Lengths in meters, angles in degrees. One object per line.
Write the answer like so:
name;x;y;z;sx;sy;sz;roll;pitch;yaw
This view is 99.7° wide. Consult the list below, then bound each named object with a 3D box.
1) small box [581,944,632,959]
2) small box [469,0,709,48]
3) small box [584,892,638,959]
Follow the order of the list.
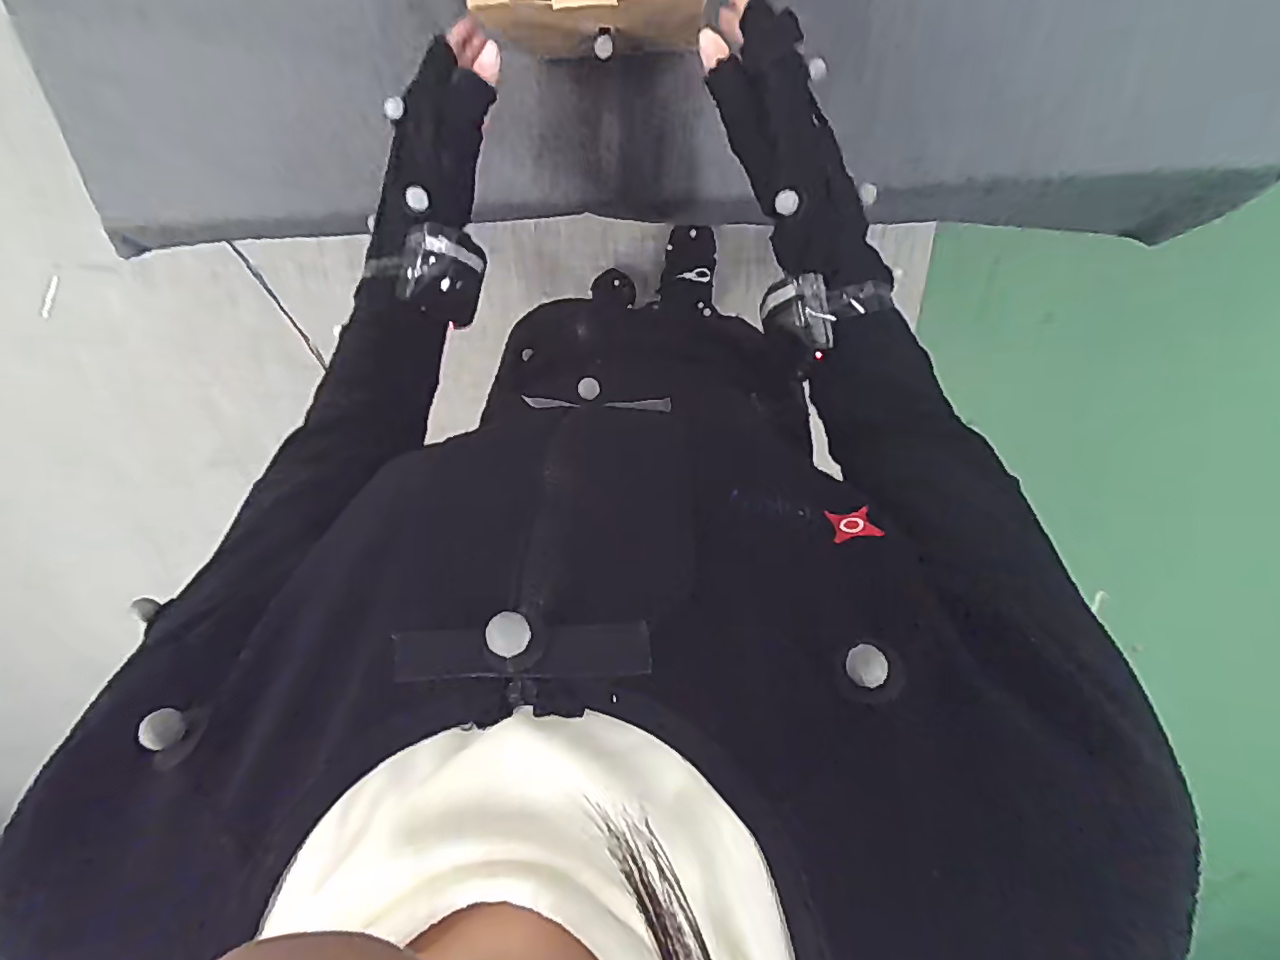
small box;-0.123;1.737;1.857;0.179;0.176;0.168;0;117;5
small box;-0.034;-0.438;0.391;0.168;0.176;0.179;0;118;7
small box;-0.101;1.666;2.003;0.179;0.176;0.168;1;116;8
